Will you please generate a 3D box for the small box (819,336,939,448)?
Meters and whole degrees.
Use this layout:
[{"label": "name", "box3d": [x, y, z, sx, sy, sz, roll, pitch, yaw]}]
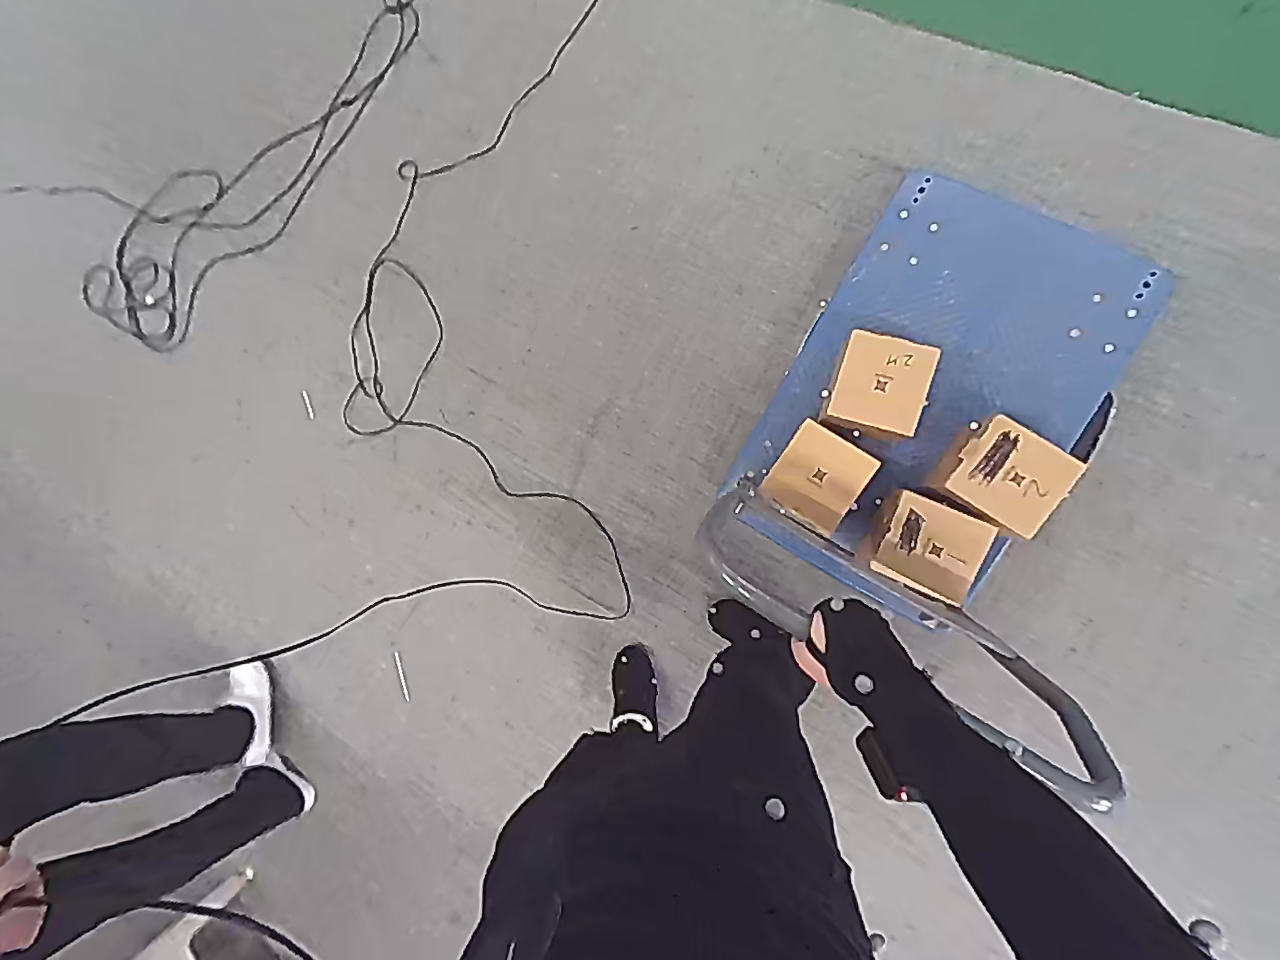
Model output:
[{"label": "small box", "box3d": [0.478, -0.170, 1.111, 0.168, 0.176, 0.179, 18, 93, 11]}]
